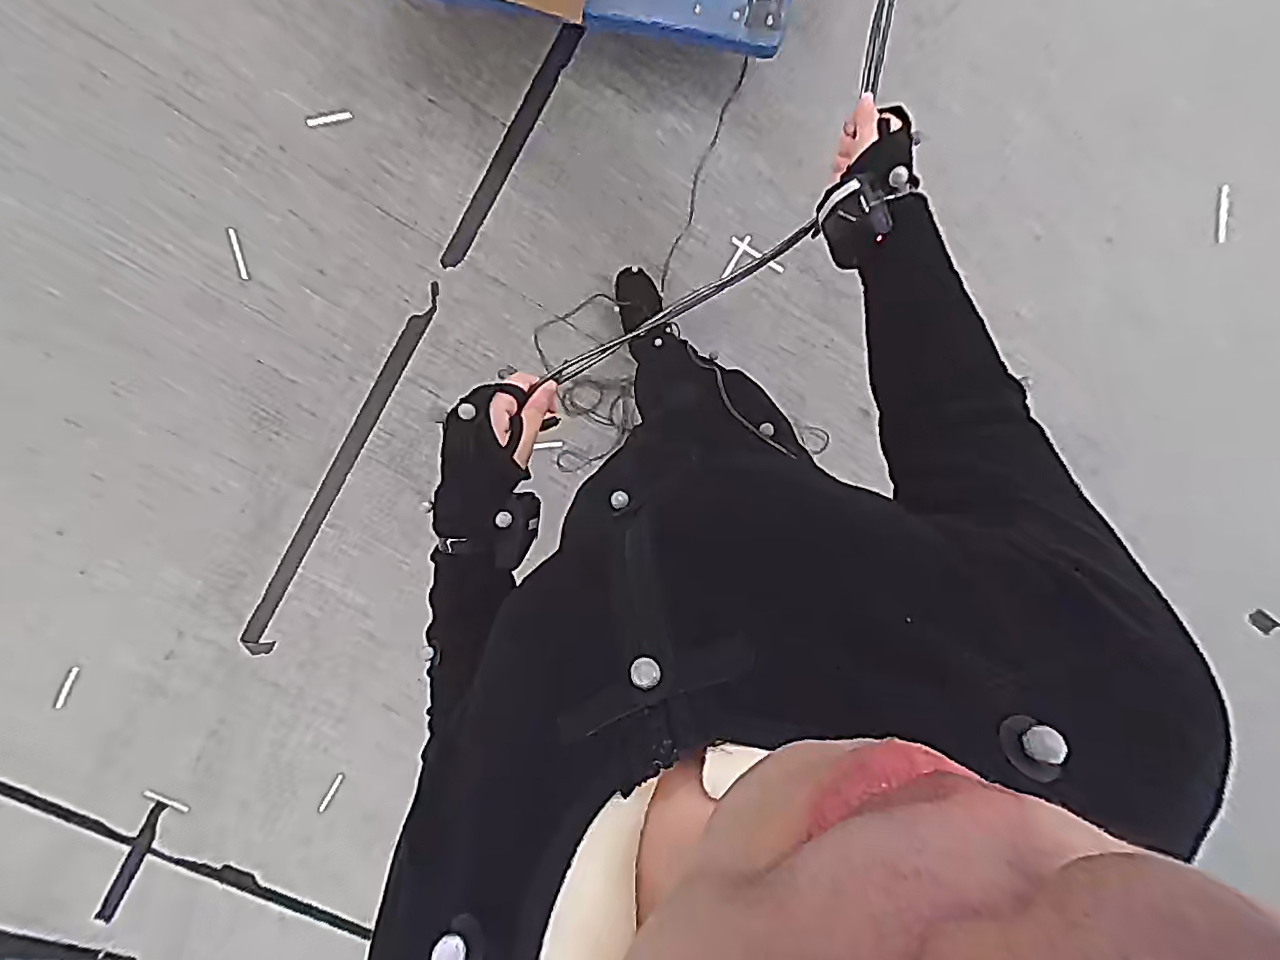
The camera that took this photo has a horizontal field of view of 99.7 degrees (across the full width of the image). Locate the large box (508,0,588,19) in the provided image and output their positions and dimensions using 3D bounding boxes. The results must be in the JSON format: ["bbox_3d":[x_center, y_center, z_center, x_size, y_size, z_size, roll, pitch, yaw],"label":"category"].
[{"bbox_3d":[-0.268,-1.072,0.897,0.408,0.320,0.320,13,101,-4],"label":"large box"}]
